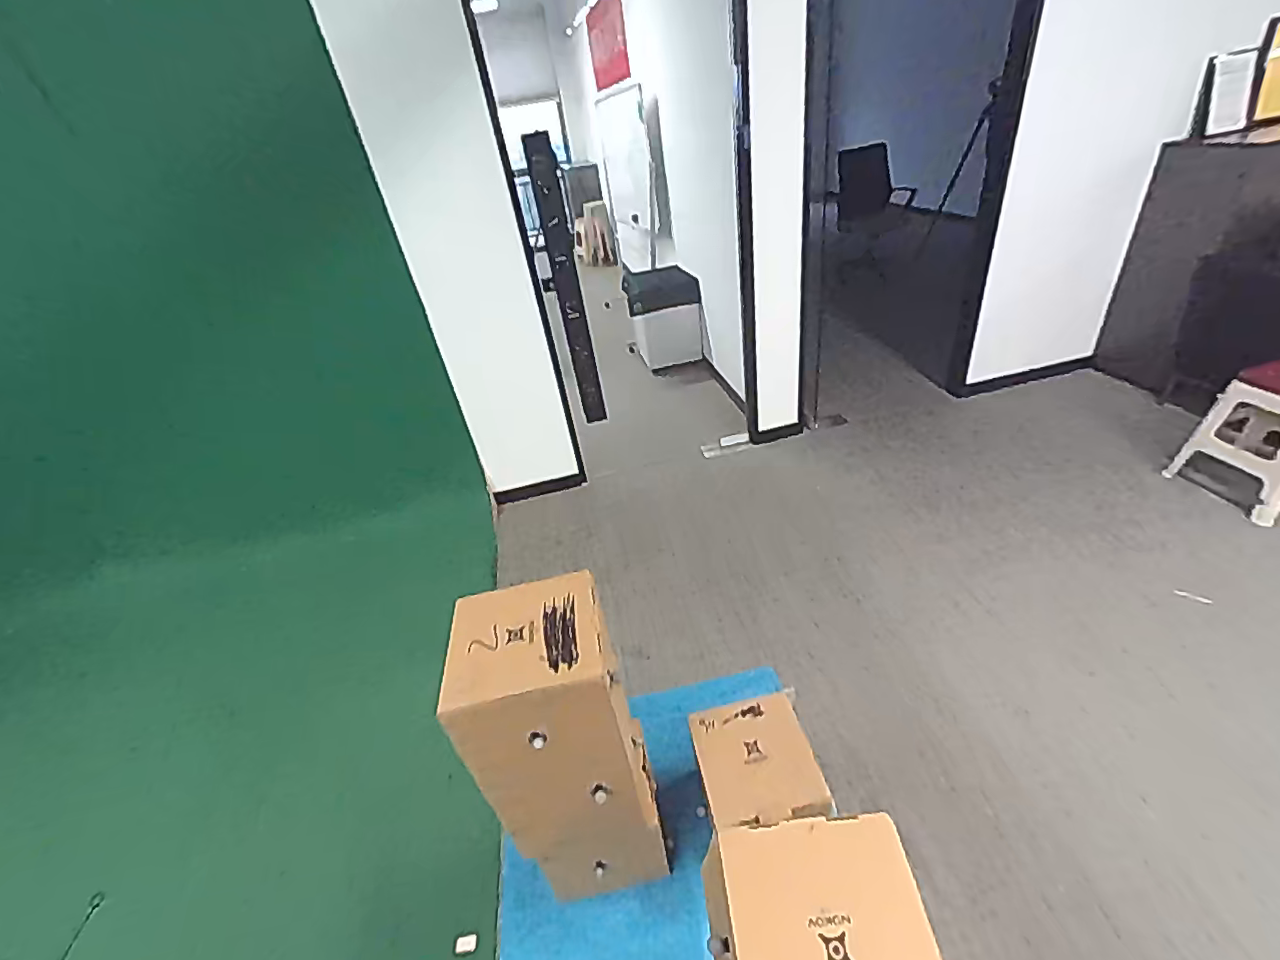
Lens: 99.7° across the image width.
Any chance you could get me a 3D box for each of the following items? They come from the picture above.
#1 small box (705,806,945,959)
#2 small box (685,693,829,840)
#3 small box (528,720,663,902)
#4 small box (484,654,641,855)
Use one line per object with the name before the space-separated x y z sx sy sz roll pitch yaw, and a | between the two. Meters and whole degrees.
small box | 0.157 0.422 0.489 0.168 0.176 0.179 -3 44 -3
small box | 0.175 0.466 0.829 0.168 0.176 0.179 -12 33 -3
small box | -0.065 0.506 0.831 0.179 0.176 0.168 -12 33 -3
small box | -0.098 0.373 0.741 0.179 0.176 0.168 -12 32 -3
